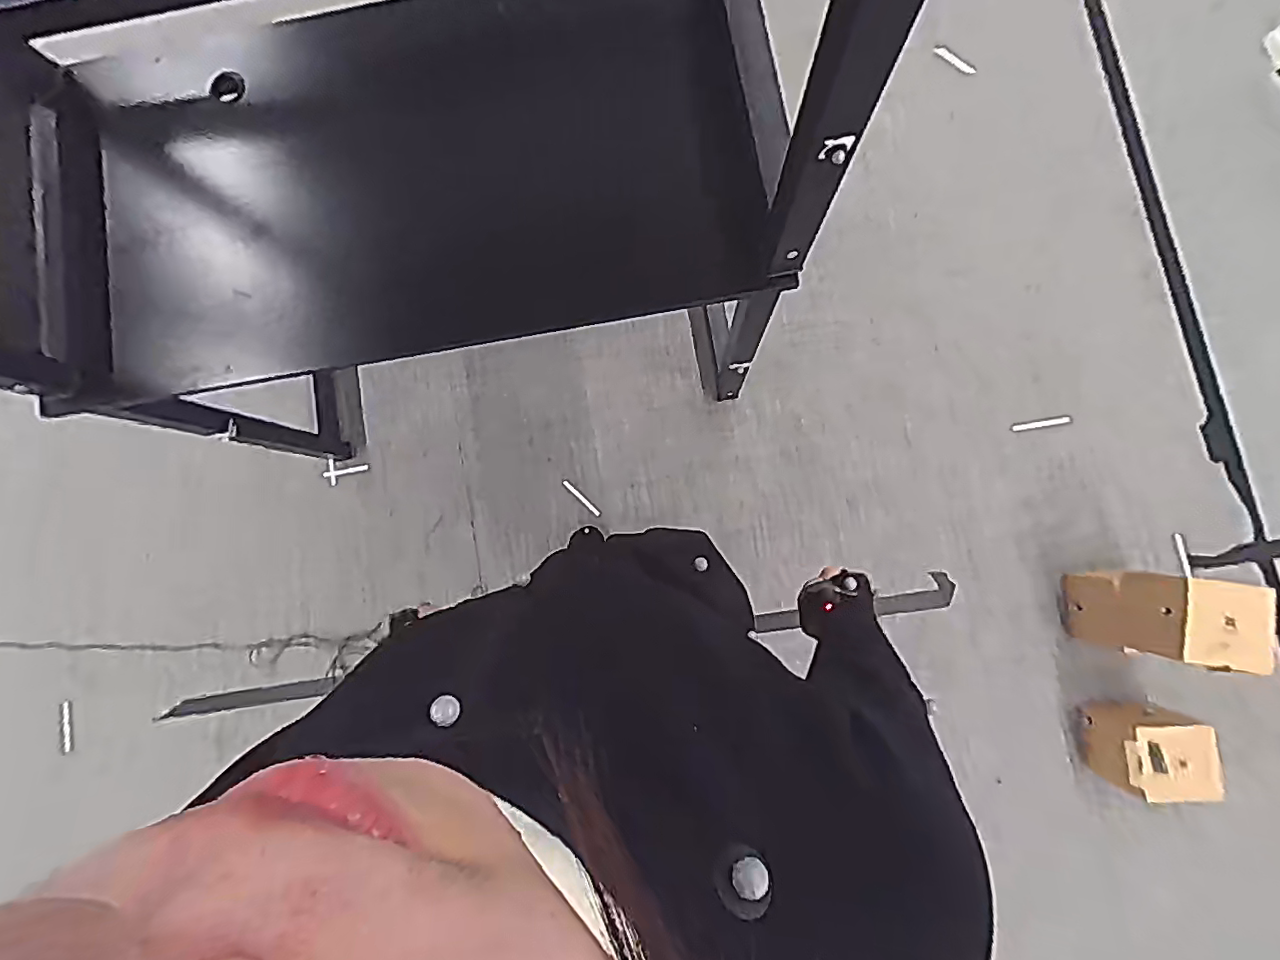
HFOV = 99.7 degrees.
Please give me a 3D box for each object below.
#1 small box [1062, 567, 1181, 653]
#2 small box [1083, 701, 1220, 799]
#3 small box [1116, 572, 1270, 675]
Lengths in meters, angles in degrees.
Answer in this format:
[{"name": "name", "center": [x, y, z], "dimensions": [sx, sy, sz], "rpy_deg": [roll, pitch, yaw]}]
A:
[{"name": "small box", "center": [1.189, 0.315, 1.332], "dimensions": [0.168, 0.176, 0.179], "rpy_deg": [-4, 86, 3]}, {"name": "small box", "center": [1.215, 0.644, 1.303], "dimensions": [0.179, 0.176, 0.168], "rpy_deg": [-4, 85, 2]}, {"name": "small box", "center": [1.182, 0.299, 1.167], "dimensions": [0.168, 0.176, 0.179], "rpy_deg": [8, 85, 5]}]
